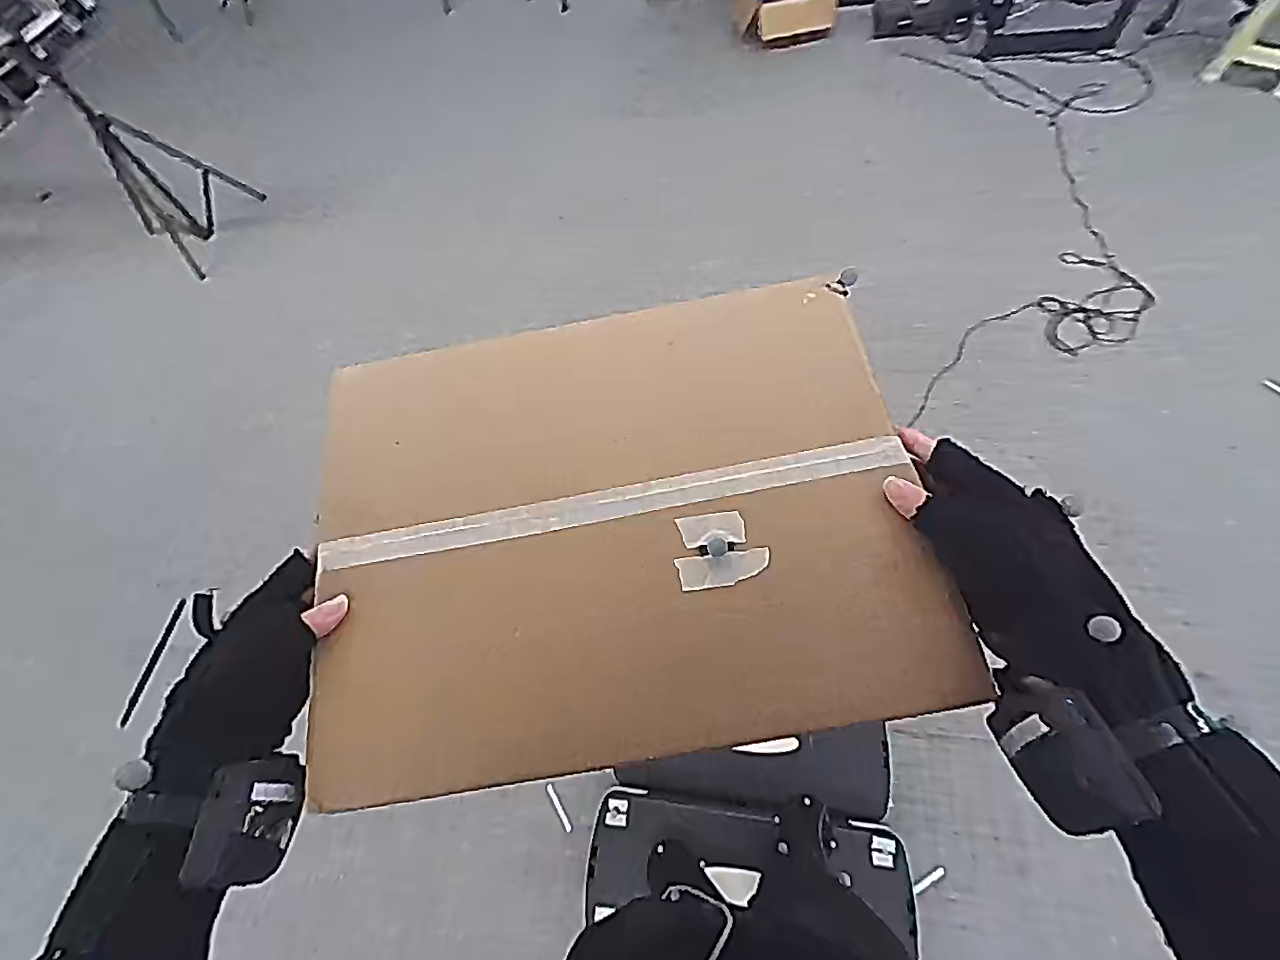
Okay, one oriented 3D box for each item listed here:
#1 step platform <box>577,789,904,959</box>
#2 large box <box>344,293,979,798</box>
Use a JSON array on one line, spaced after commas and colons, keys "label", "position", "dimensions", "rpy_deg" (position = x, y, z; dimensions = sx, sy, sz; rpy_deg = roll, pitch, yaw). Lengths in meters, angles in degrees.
[{"label": "step platform", "position": [0.208, 0.890, 1.199], "dimensions": [0.684, 0.204, 0.286], "rpy_deg": [1, 62, 11]}, {"label": "large box", "position": [0.001, 0.078, 0.522], "dimensions": [0.408, 0.320, 0.320], "rpy_deg": [-10, 68, 2]}]
